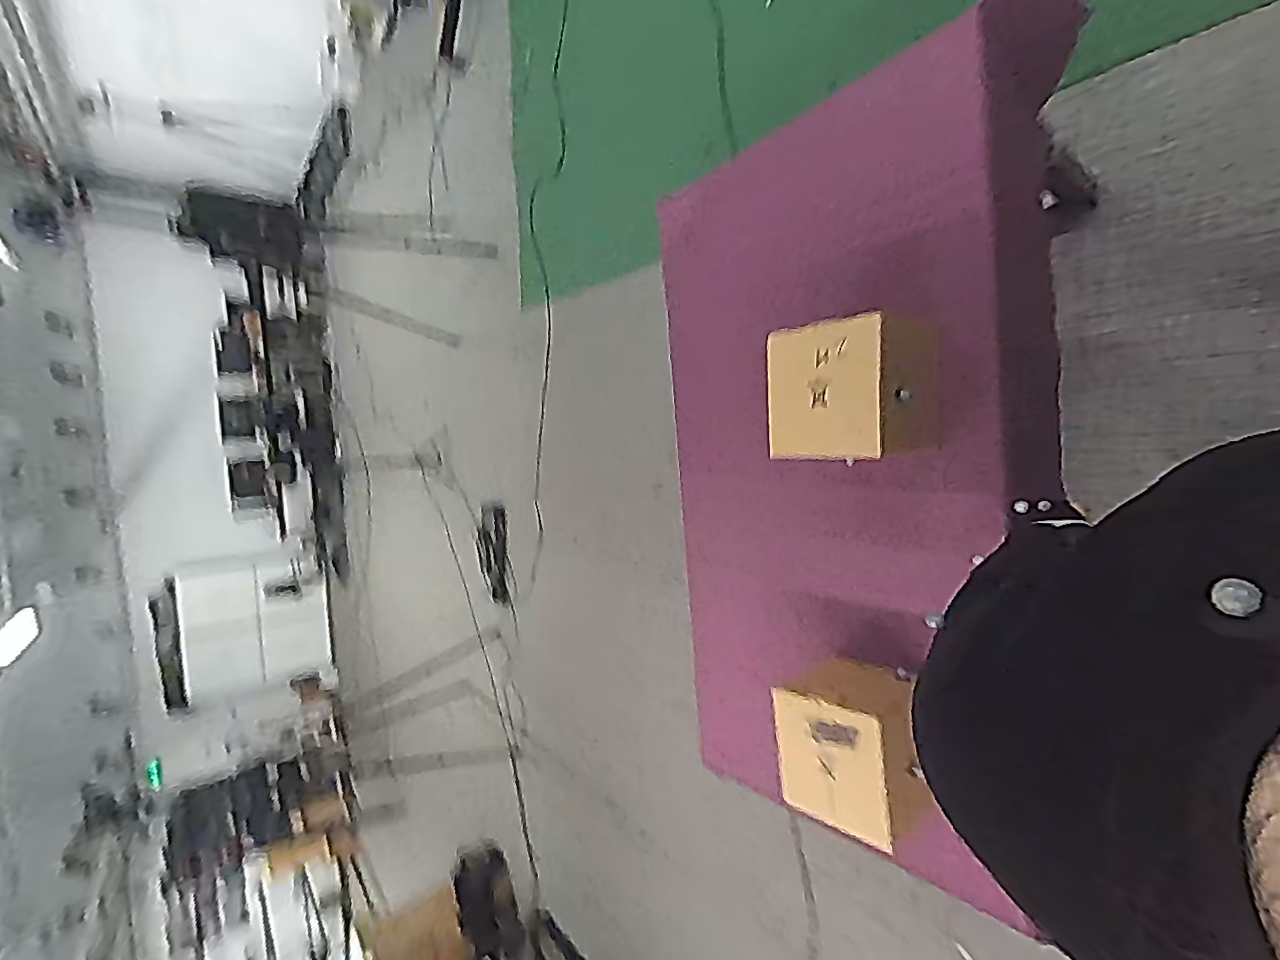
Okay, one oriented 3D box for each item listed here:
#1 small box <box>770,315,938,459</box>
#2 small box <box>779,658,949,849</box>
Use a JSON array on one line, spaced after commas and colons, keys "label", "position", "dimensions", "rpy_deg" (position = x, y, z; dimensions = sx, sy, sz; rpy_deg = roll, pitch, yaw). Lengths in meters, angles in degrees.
[{"label": "small box", "position": [0.302, -0.124, 0.763], "dimensions": [0.168, 0.176, 0.179], "rpy_deg": [4, 98, 50]}, {"label": "small box", "position": [0.329, 0.381, 0.797], "dimensions": [0.168, 0.176, 0.179], "rpy_deg": [-6, 91, 51]}]
